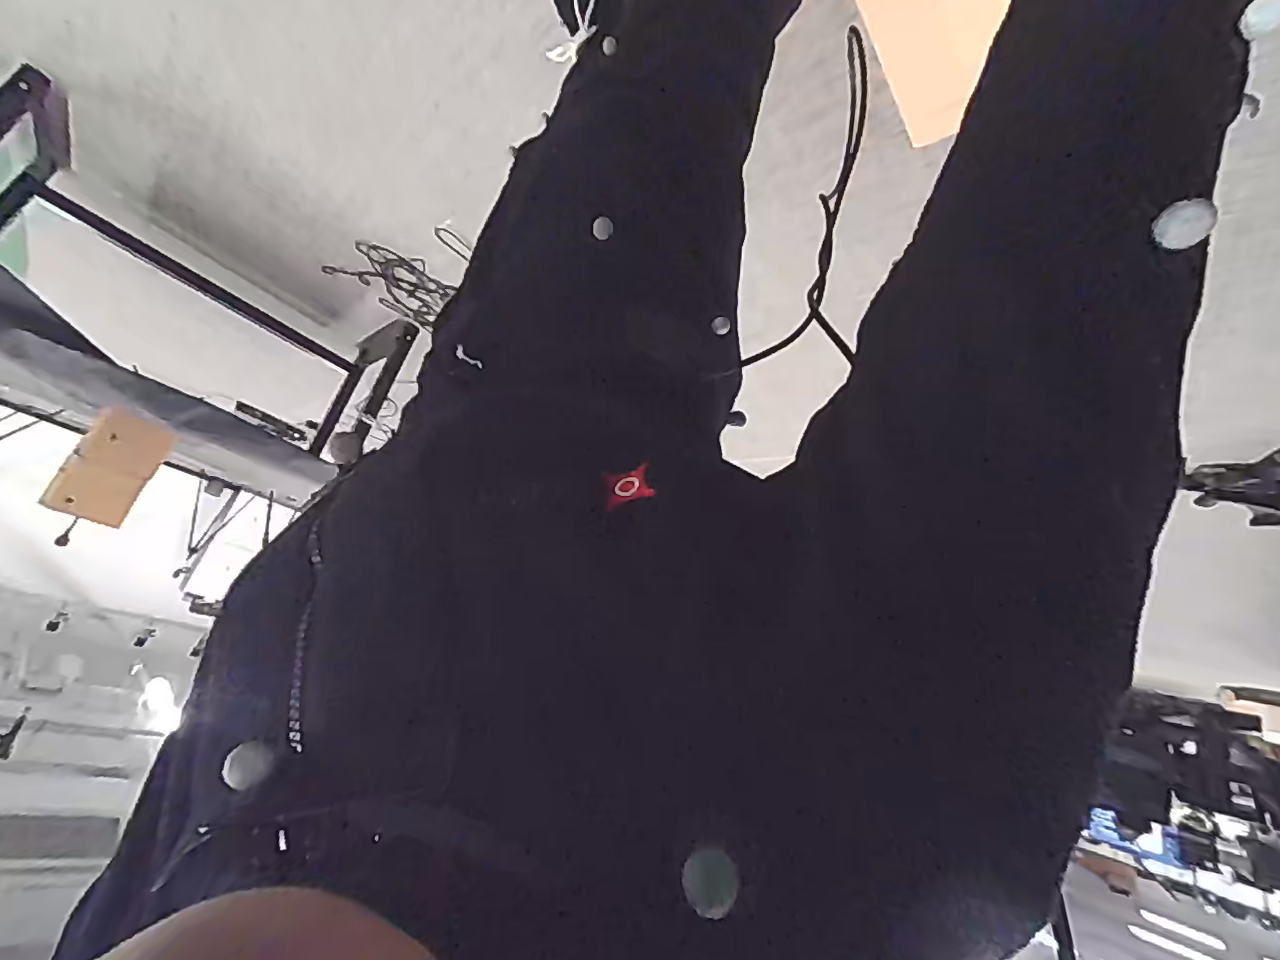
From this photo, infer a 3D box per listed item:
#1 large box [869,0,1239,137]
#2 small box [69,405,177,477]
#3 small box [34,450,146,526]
[{"bbox_3d":[0.383,-0.661,0.511,0.320,0.320,0.408,-2,155,45],"label":"large box"},{"bbox_3d":[-1.602,-0.124,1.680,0.168,0.176,0.179,4,158,37],"label":"small box"},{"bbox_3d":[-1.652,0.023,1.632,0.168,0.176,0.179,4,157,37],"label":"small box"}]
